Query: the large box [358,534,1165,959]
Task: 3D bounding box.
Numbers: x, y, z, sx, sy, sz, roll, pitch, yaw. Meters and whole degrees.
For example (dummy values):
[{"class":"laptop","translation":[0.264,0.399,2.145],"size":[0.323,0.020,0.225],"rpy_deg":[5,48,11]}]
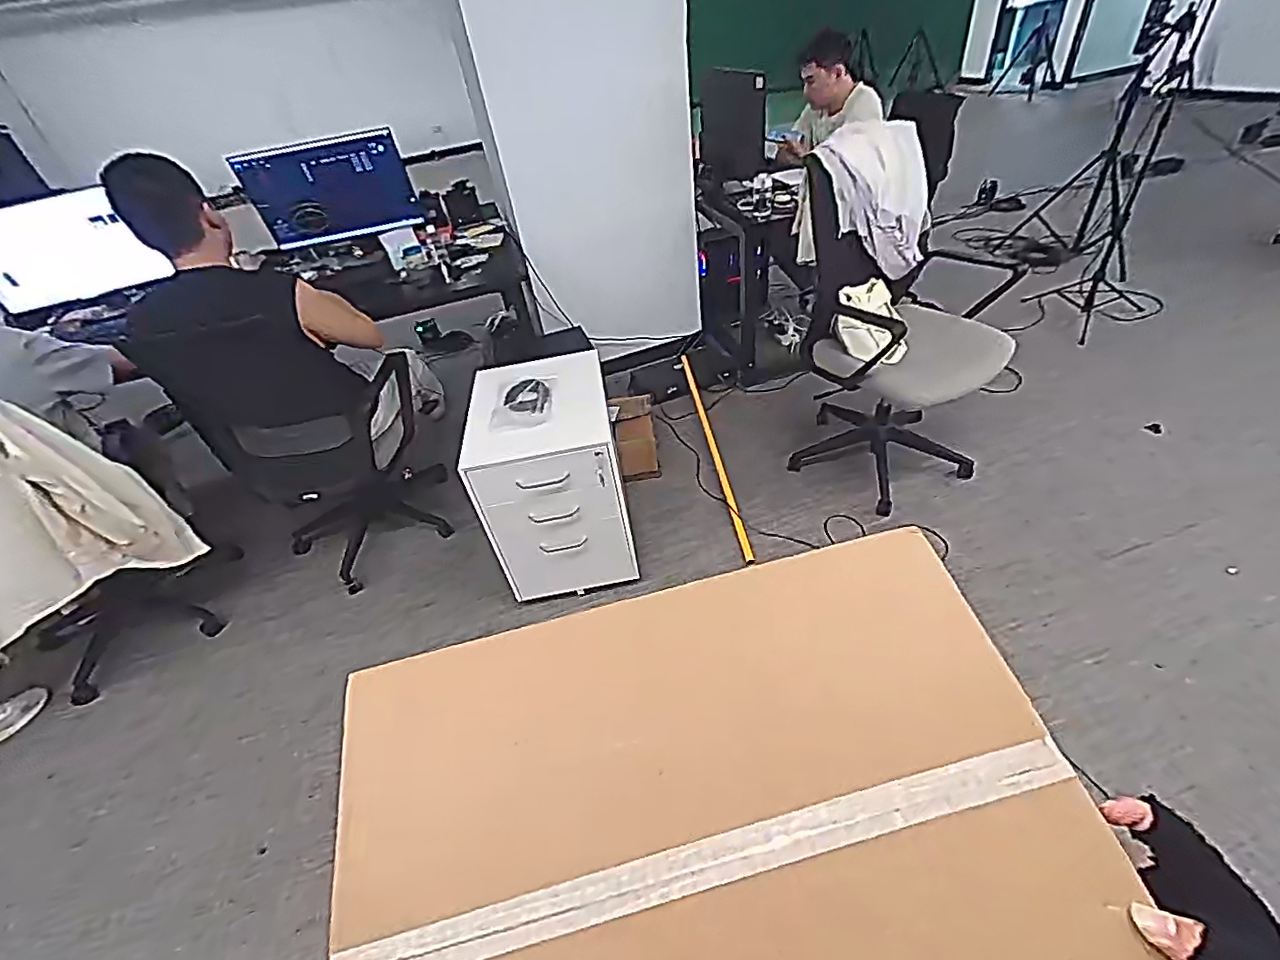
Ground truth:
[{"class":"large box","translation":[0.052,0.293,0.421],"size":[0.408,0.320,0.320],"rpy_deg":[-14,57,-4]}]
